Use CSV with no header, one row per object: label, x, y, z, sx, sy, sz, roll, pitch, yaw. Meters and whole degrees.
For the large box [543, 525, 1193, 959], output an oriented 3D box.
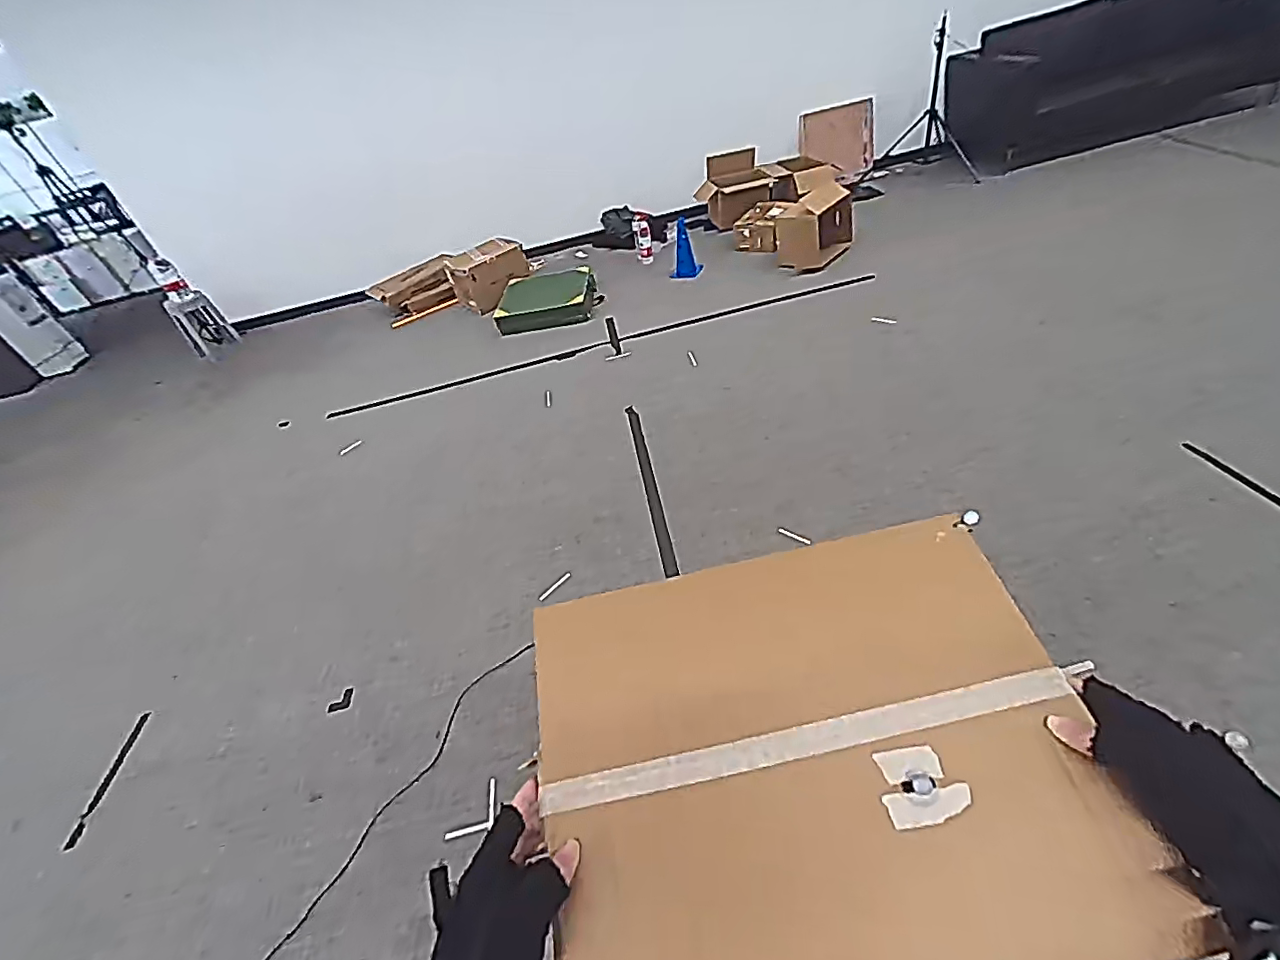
large box,0.147,0.295,0.543,0.408,0.320,0.320,-13,53,0
